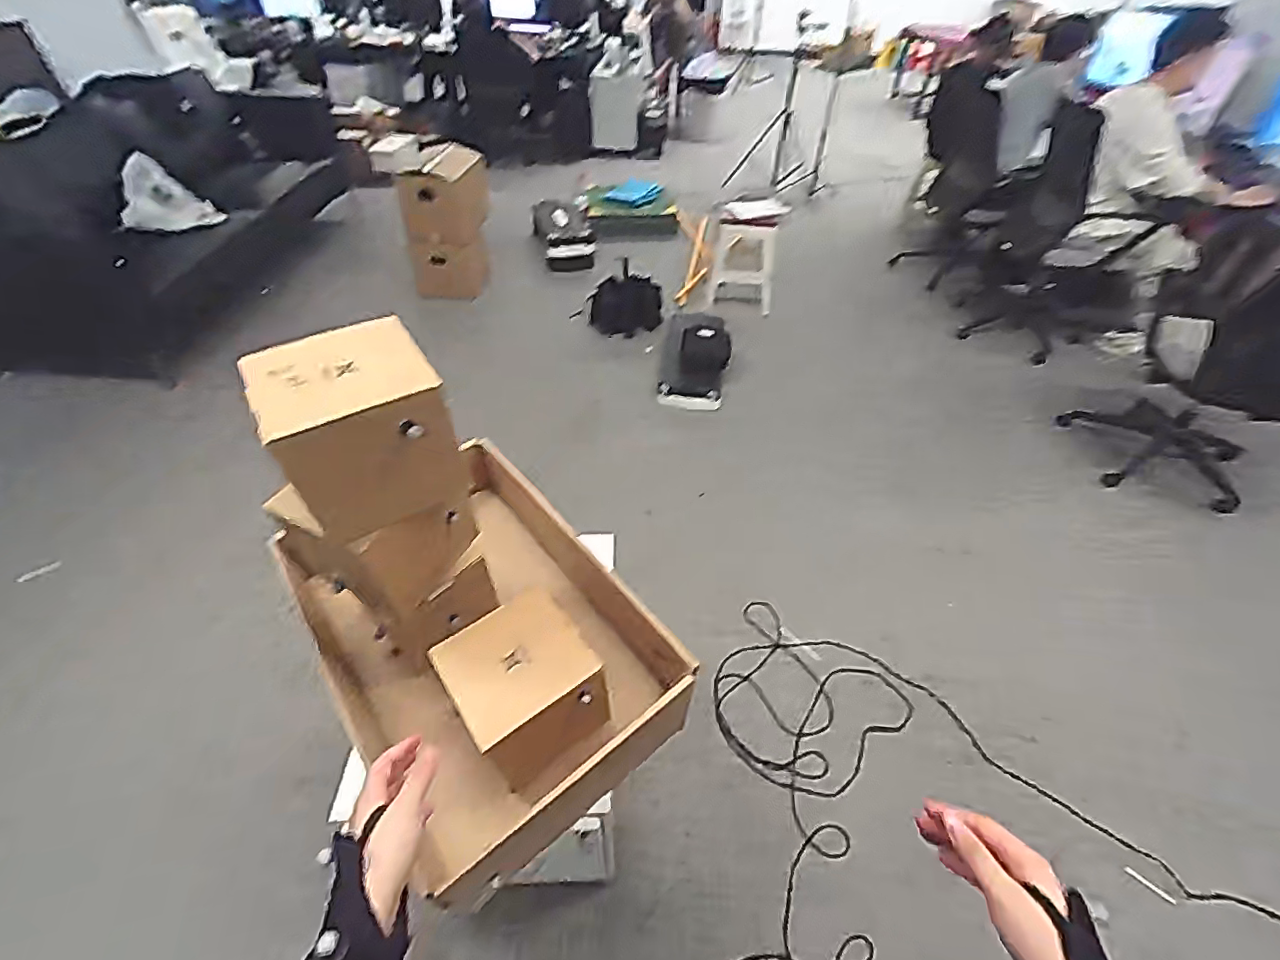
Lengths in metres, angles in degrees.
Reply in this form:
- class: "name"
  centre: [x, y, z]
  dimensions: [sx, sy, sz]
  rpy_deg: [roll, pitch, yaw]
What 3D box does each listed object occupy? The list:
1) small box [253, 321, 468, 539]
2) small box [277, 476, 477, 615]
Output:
- class: "small box"
  centre: [-0.326, -0.062, 0.660]
  dimensions: [0.179, 0.176, 0.168]
  rpy_deg: [-26, 52, -22]
- class: "small box"
  centre: [-0.354, 0.058, 0.774]
  dimensions: [0.168, 0.176, 0.179]
  rpy_deg: [19, 51, 17]
